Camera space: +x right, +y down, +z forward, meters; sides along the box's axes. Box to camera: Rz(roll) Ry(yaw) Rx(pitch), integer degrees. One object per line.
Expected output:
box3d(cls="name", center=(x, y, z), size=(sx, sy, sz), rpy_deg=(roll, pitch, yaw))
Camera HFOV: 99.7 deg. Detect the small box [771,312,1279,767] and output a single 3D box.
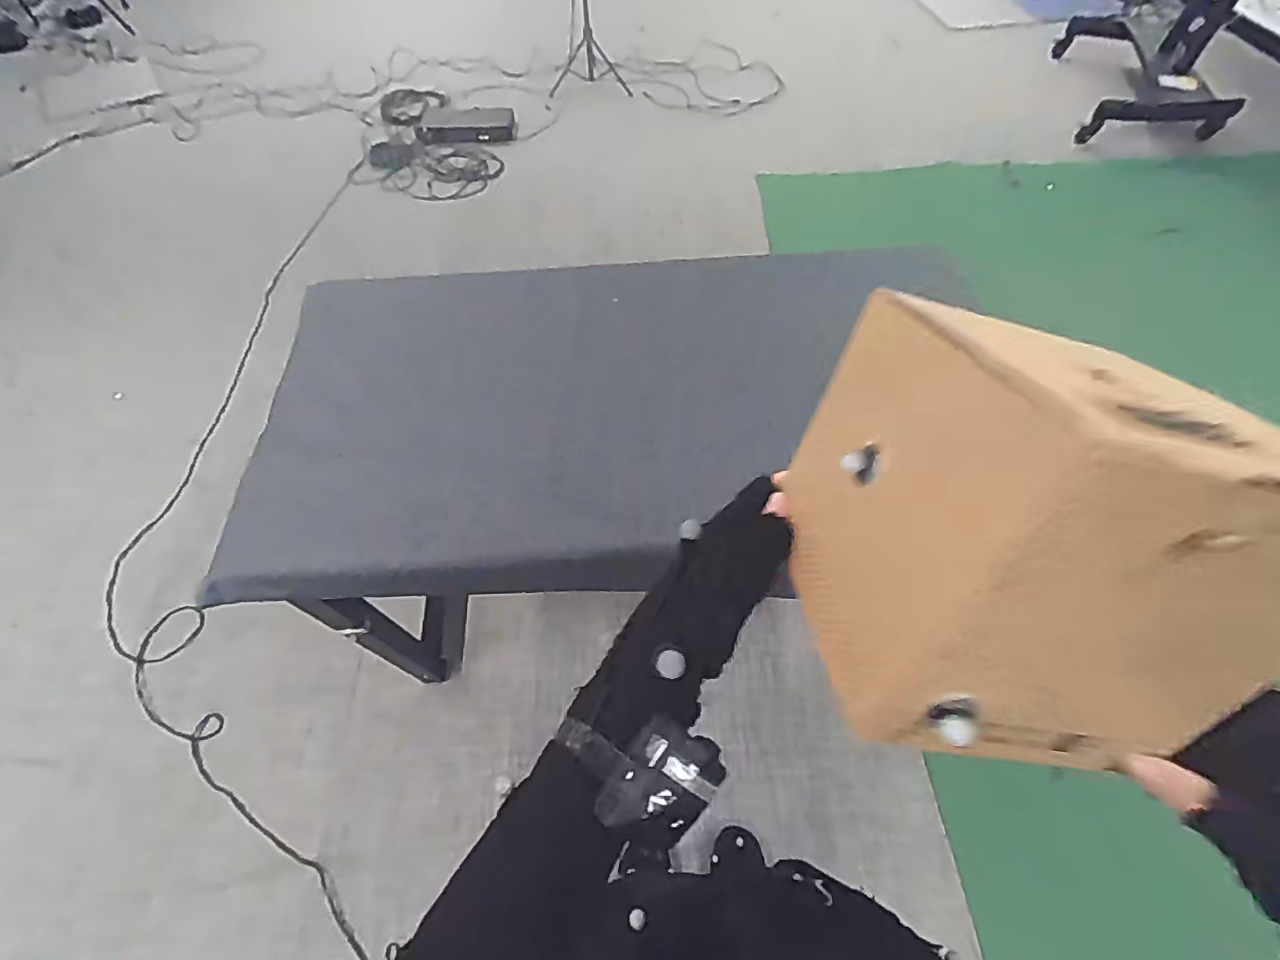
box3d(cls="small box", center=(0.193, 0.030, 0.302), size=(0.168, 0.176, 0.179), rpy_deg=(12, 33, -9))
